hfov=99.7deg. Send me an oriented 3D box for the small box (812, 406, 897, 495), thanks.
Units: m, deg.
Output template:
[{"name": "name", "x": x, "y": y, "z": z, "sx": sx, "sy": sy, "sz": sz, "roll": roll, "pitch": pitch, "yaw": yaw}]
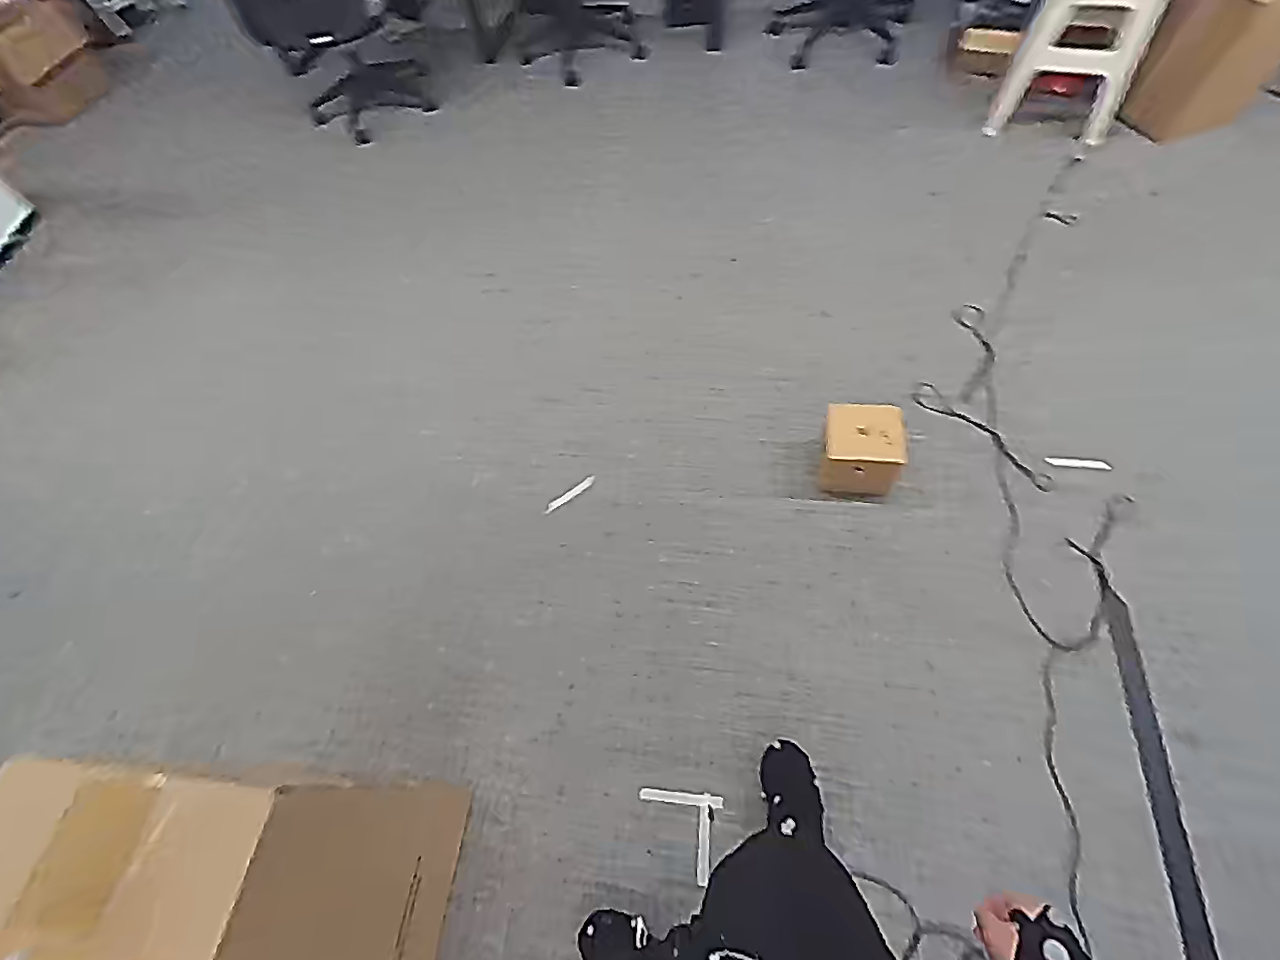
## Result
[{"name": "small box", "x": 0.543, "y": -0.072, "z": 1.392, "sx": 0.179, "sy": 0.176, "sz": 0.168, "roll": 4, "pitch": 62, "yaw": 10}]
